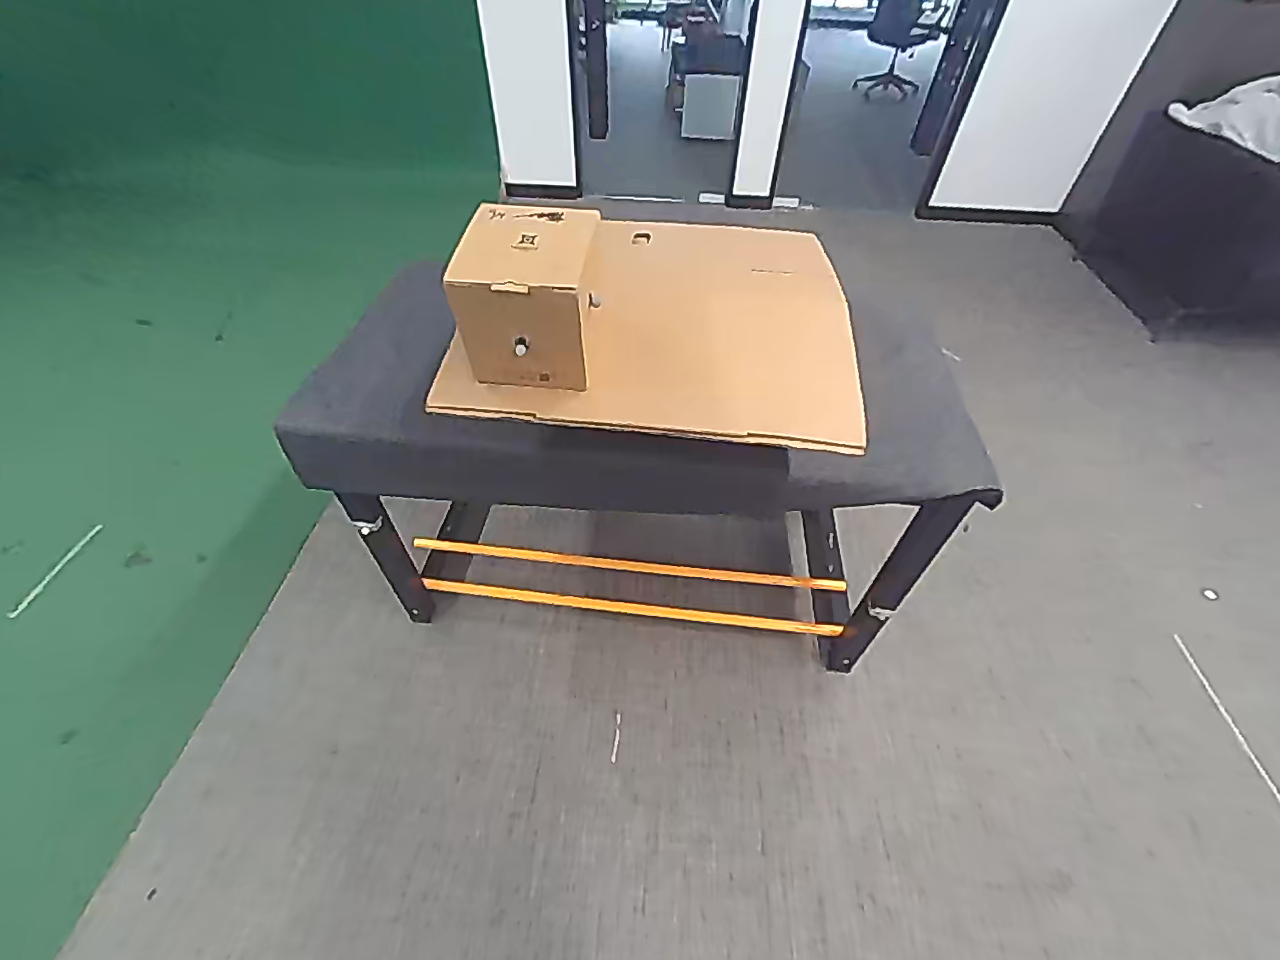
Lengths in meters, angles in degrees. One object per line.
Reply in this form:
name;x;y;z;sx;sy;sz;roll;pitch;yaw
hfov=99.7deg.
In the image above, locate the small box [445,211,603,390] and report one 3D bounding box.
small box;-0.145;-0.245;0.755;0.168;0.176;0.179;5;56;3
